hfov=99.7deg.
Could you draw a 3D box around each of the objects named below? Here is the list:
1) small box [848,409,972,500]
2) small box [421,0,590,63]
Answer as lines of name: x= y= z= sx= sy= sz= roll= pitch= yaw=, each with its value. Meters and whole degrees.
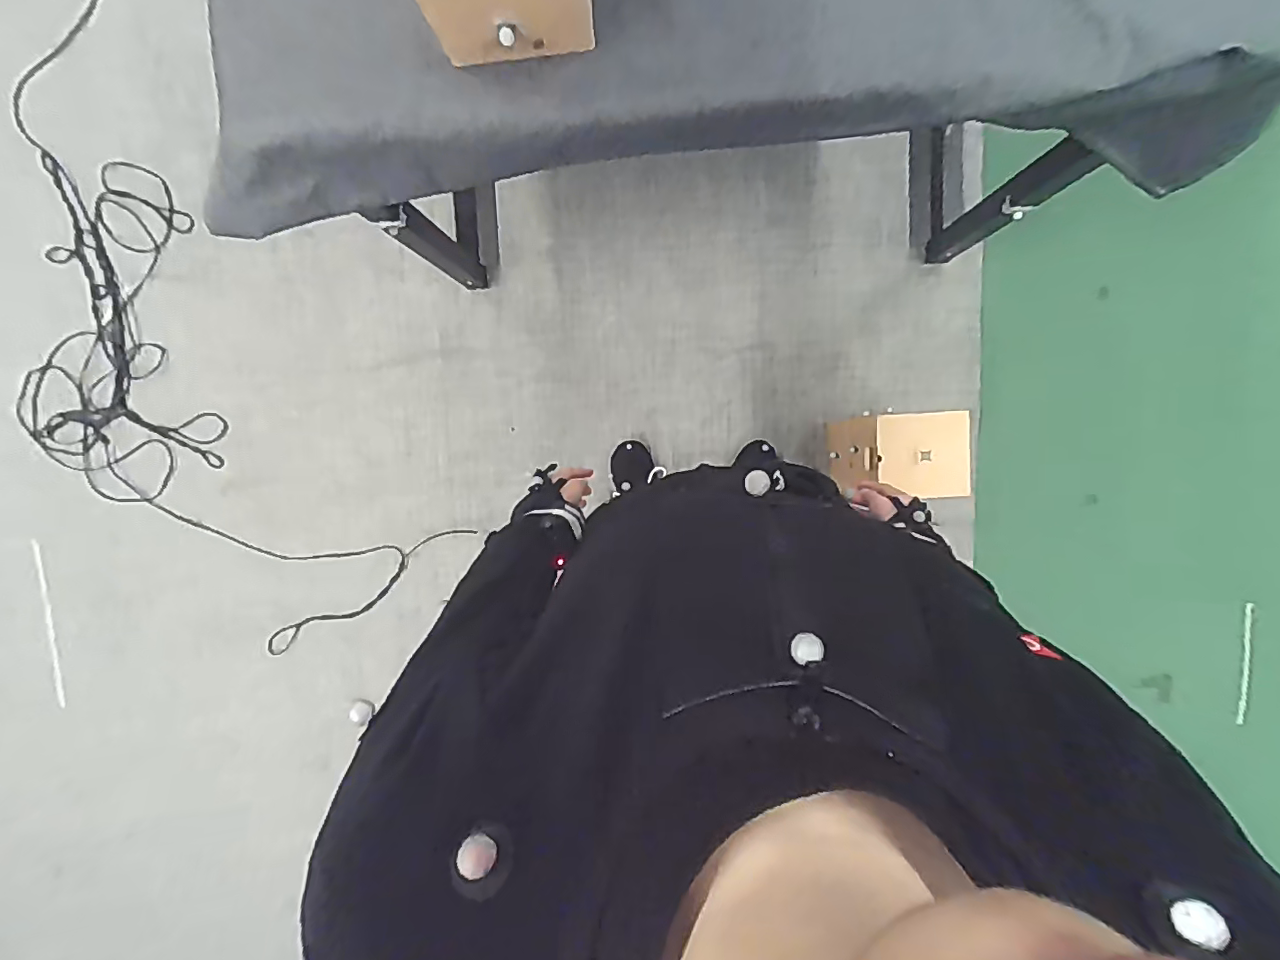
small box: x=0.539 y=-0.056 z=1.095 sx=0.179 sy=0.176 sz=0.168 roll=-4 pitch=95 yaw=4
small box: x=-0.145 y=-0.555 z=0.520 sx=0.168 sy=0.176 sz=0.179 roll=-4 pitch=95 yaw=4
